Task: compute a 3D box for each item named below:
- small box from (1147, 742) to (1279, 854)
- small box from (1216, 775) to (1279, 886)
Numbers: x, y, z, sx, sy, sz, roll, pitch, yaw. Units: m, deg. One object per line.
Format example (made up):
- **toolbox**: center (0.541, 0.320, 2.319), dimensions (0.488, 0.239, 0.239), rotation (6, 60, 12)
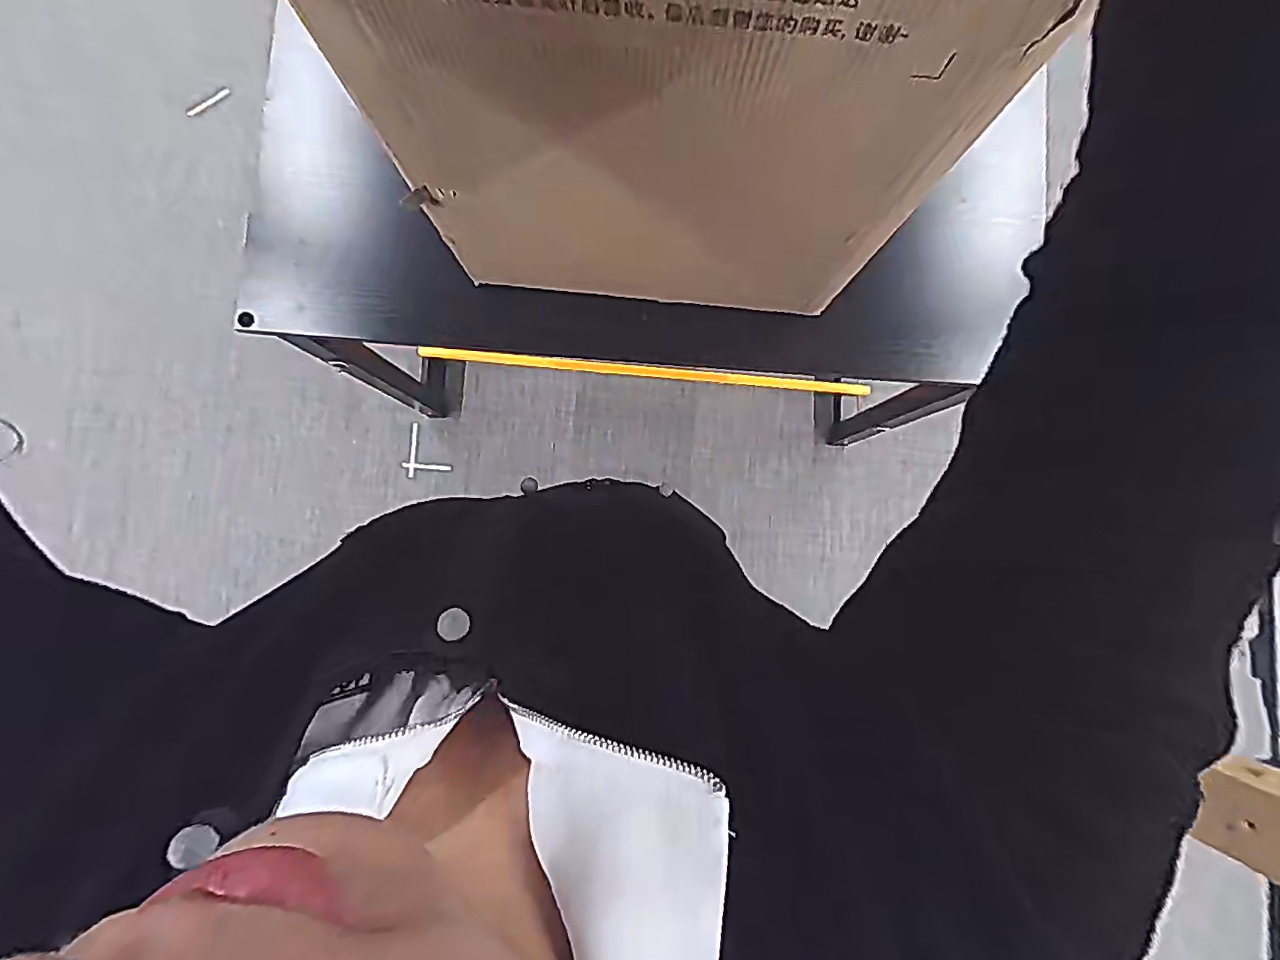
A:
- **small box**: center (1.320, 0.724, 1.241), dimensions (0.168, 0.176, 0.179), rotation (4, 86, -1)
- **small box**: center (1.326, 0.714, 1.077), dimensions (0.179, 0.176, 0.168), rotation (7, 85, 0)
